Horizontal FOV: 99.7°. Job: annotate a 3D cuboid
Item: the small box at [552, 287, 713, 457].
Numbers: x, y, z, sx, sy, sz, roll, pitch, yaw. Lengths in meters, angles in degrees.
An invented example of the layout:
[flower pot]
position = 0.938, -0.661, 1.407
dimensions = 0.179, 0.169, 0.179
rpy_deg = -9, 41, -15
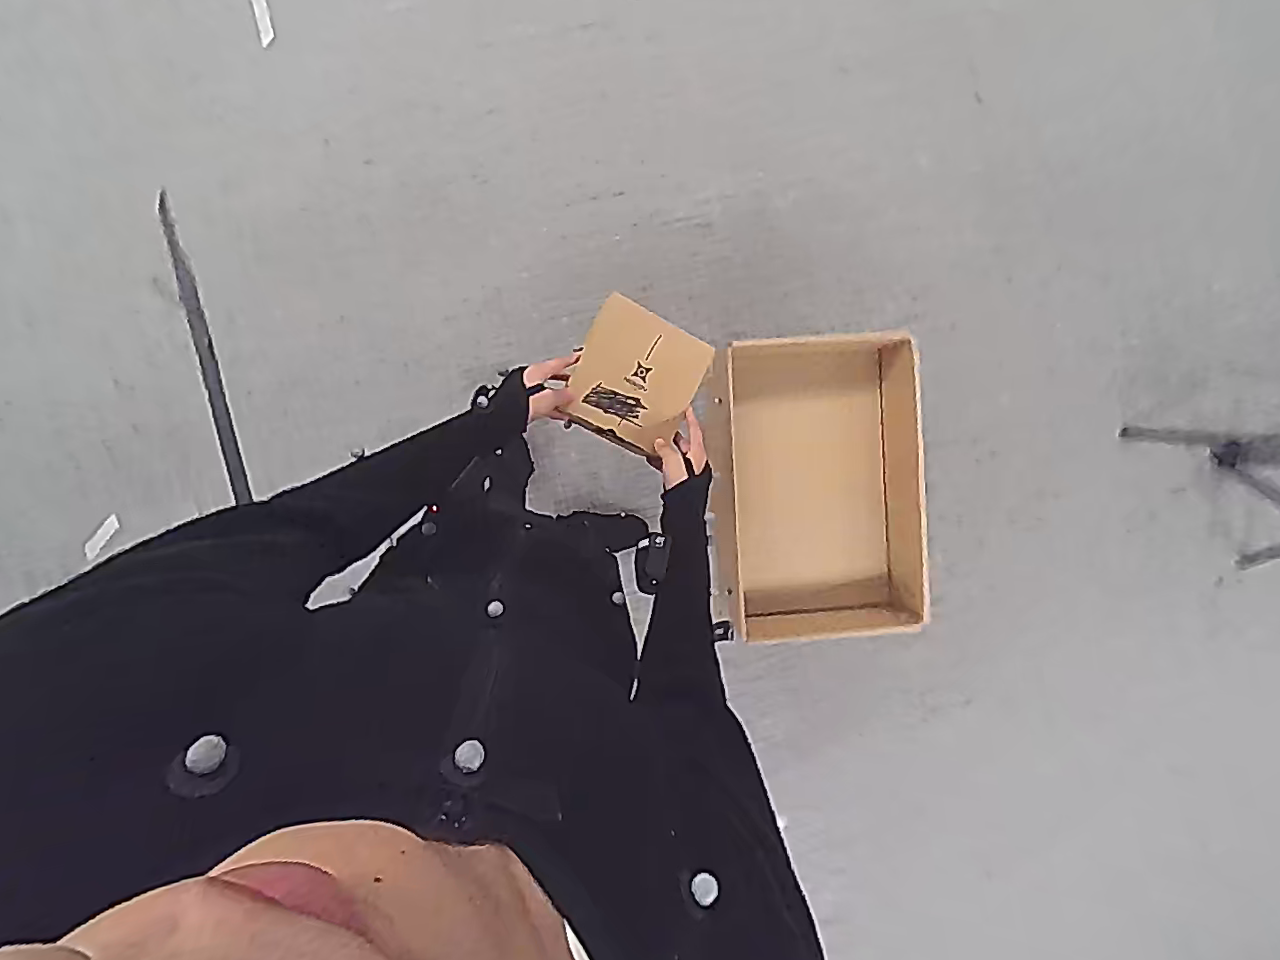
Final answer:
[small box]
position = -0.021, -0.147, 0.798
dimensions = 0.168, 0.176, 0.179
rpy_deg = 25, 89, -13
